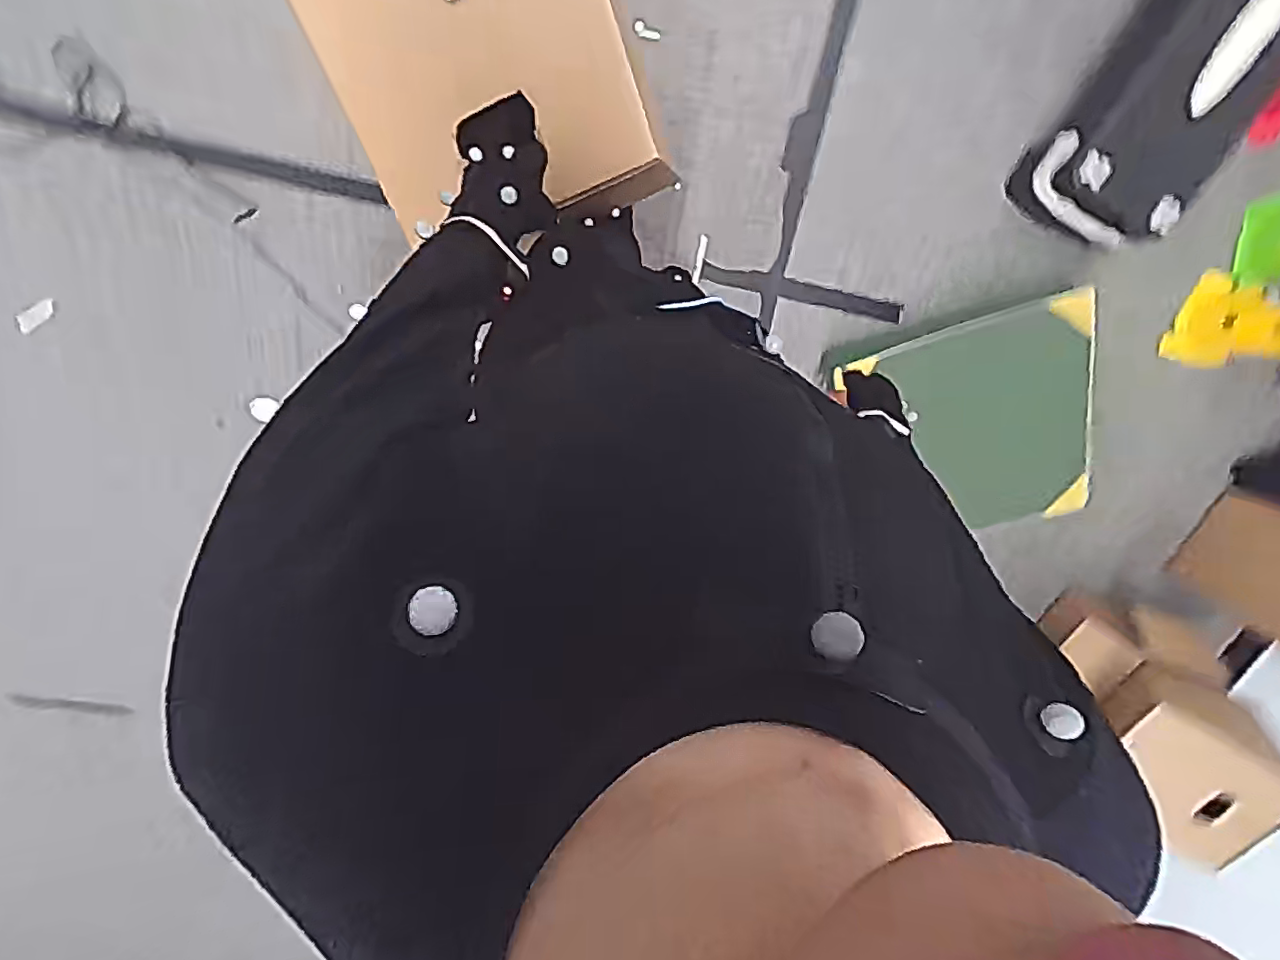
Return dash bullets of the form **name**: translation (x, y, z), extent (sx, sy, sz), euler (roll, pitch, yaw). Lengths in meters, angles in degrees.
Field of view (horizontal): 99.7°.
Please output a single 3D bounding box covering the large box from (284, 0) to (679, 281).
- **large box**: translation (-0.155, -0.507, 0.742), extent (0.320, 0.408, 0.320), euler (-16, 114, 16)
